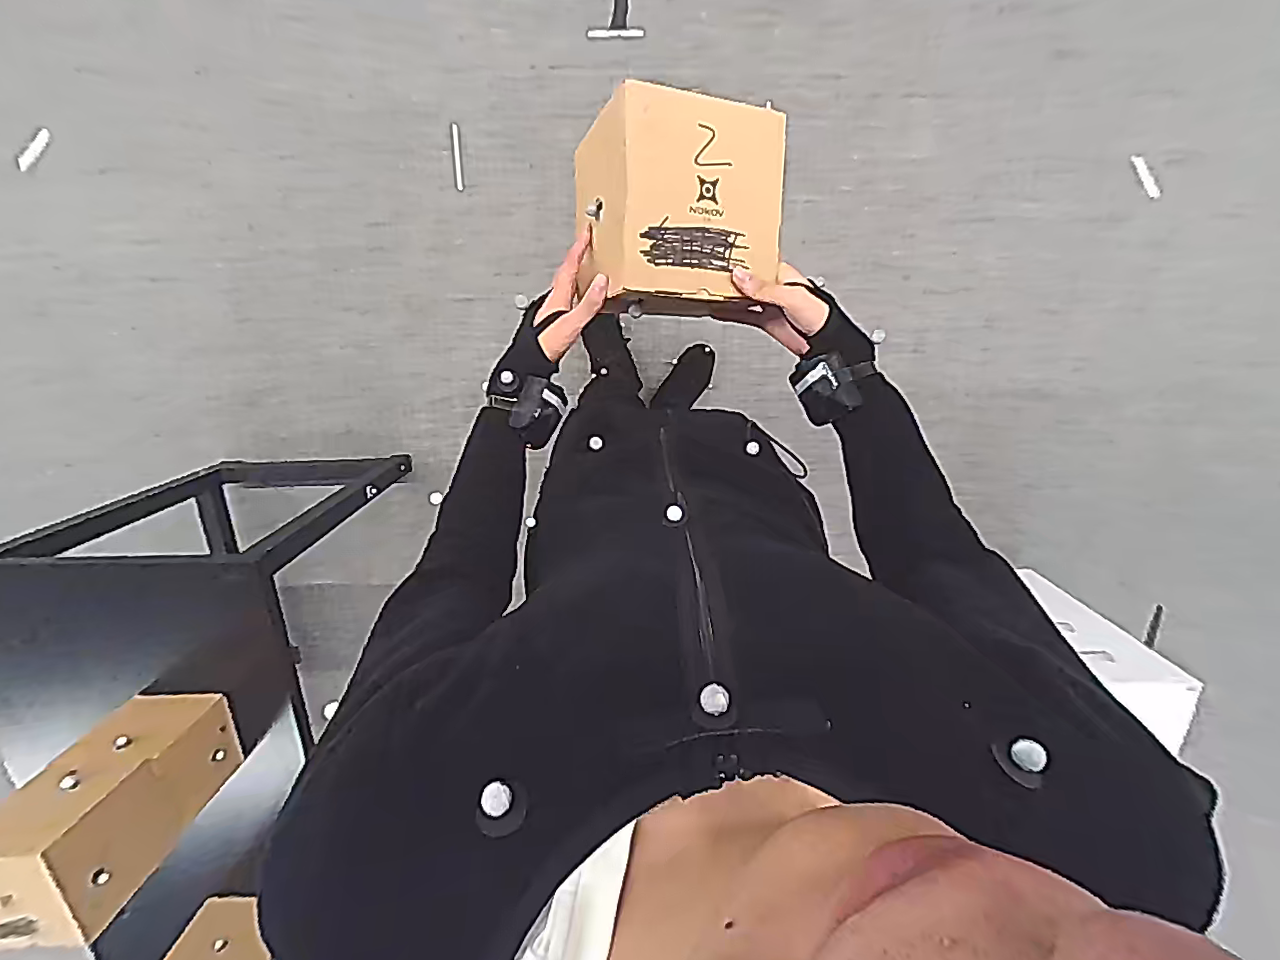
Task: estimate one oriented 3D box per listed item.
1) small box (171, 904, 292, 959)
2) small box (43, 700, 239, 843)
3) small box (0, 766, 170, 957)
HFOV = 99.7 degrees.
[{"bbox_3d":[-0.866,1.029,1.131,0.179,0.176,0.168,-2,107,0],"label":"small box"},{"bbox_3d":[-0.877,0.517,0.970,0.179,0.176,0.168,-1,108,0],"label":"small box"},{"bbox_3d":[-0.870,0.566,0.813,0.168,0.176,0.179,-4,107,0],"label":"small box"}]
